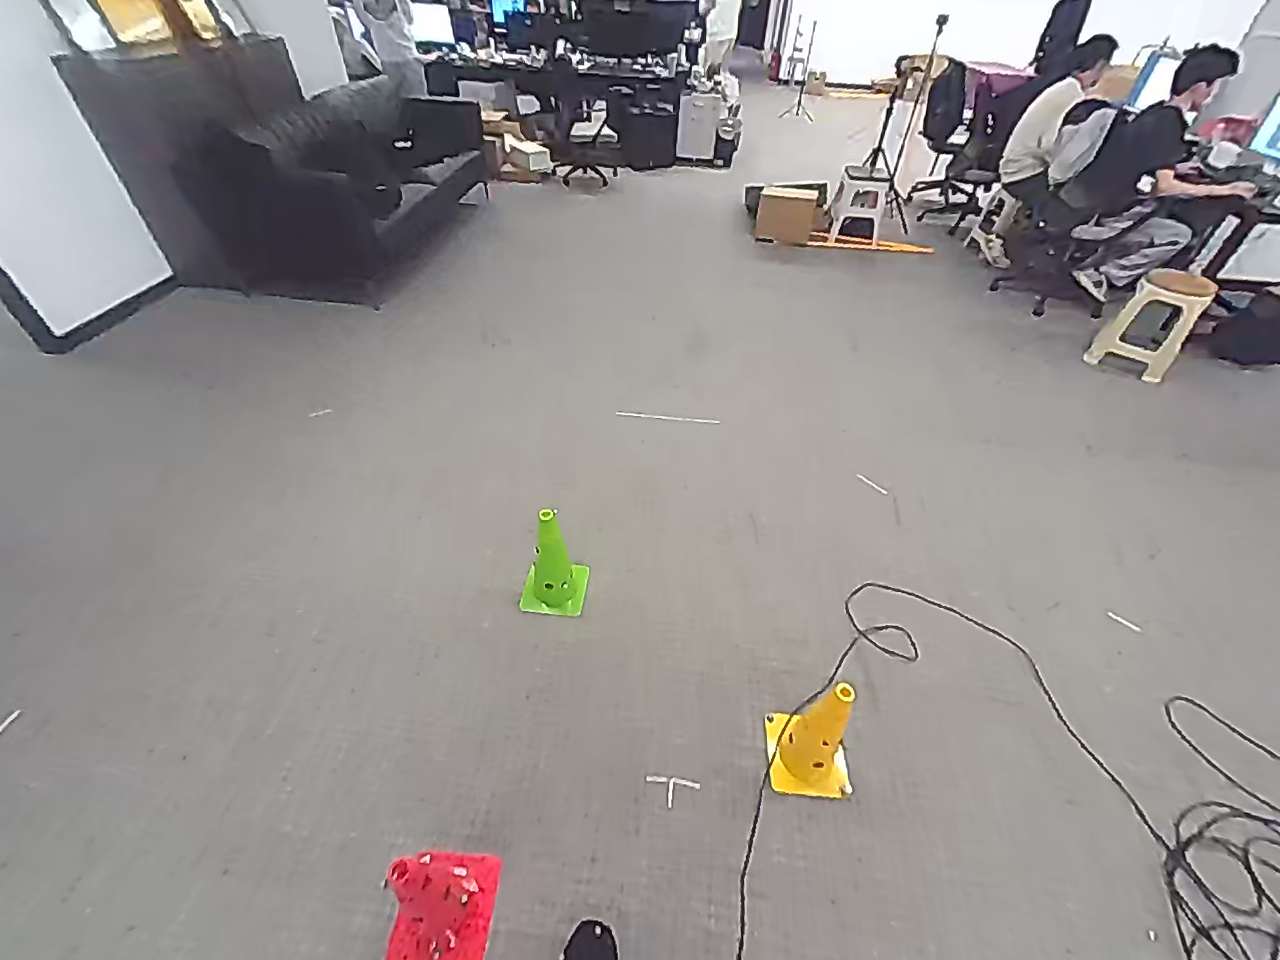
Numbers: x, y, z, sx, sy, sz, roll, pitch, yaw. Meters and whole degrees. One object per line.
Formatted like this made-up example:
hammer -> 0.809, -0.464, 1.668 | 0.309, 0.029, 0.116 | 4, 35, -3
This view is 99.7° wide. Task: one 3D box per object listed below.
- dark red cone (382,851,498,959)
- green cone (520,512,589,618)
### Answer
dark red cone -> -0.407, 0.786, 1.023 | 0.202, 0.394, 0.201 | 2, 44, 0
green cone -> -0.268, 0.235, 1.653 | 0.202, 0.368, 0.200 | 6, 44, 2
